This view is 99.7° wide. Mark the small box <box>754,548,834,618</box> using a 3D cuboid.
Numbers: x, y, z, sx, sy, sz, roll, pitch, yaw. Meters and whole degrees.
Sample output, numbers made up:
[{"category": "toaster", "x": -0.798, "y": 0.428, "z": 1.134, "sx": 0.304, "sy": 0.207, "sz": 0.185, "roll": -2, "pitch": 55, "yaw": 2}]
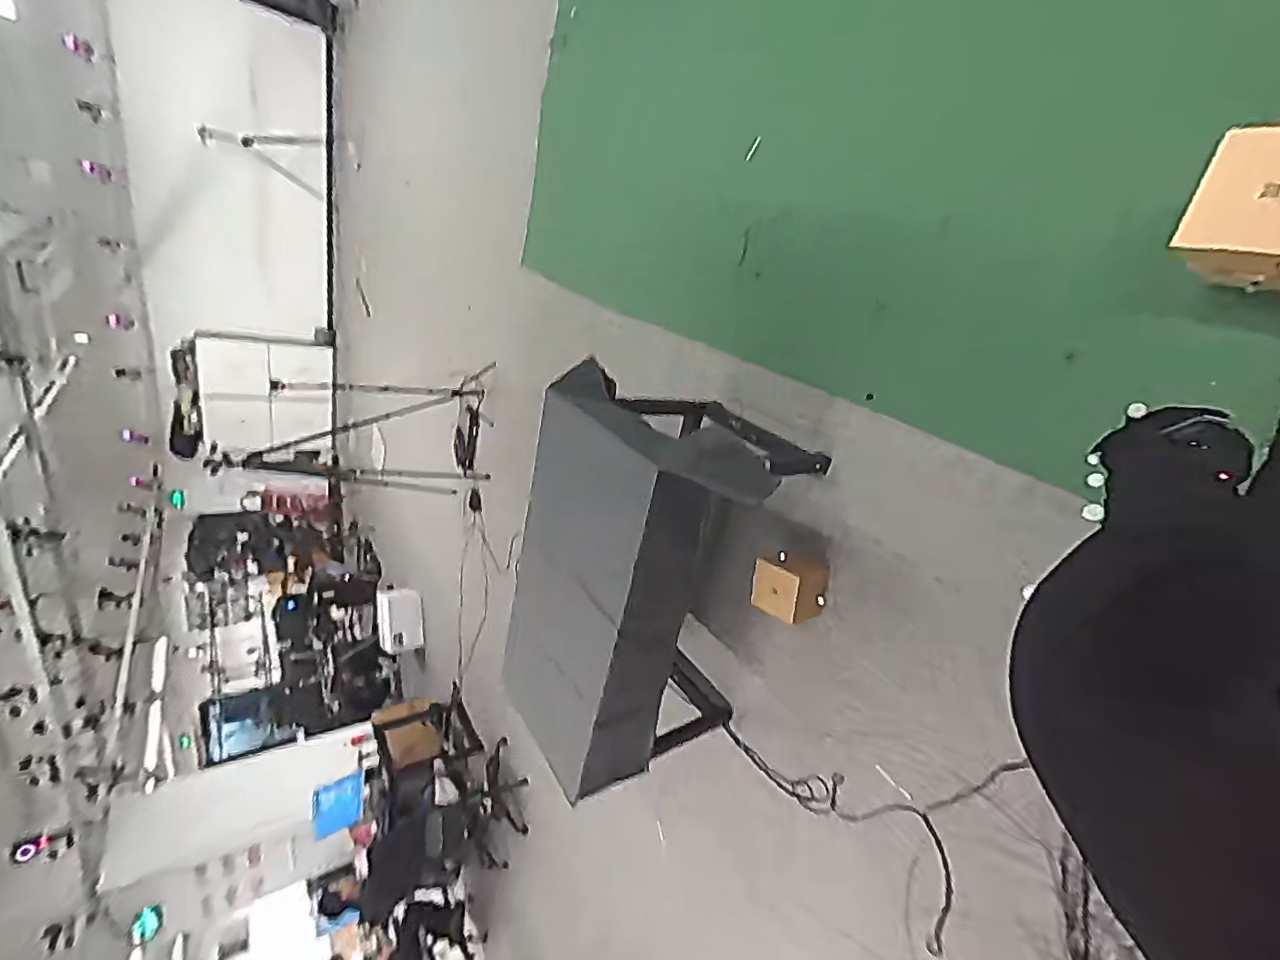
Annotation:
[{"category": "small box", "x": 0.510, "y": 0.335, "z": 1.798, "sx": 0.179, "sy": 0.176, "sz": 0.168, "roll": 23, "pitch": 113, "yaw": 51}]

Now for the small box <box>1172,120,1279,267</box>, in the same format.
[{"category": "small box", "x": 0.972, "y": -0.424, "z": 0.816, "sx": 0.179, "sy": 0.176, "sz": 0.168, "roll": 35, "pitch": 121, "yaw": 45}]
